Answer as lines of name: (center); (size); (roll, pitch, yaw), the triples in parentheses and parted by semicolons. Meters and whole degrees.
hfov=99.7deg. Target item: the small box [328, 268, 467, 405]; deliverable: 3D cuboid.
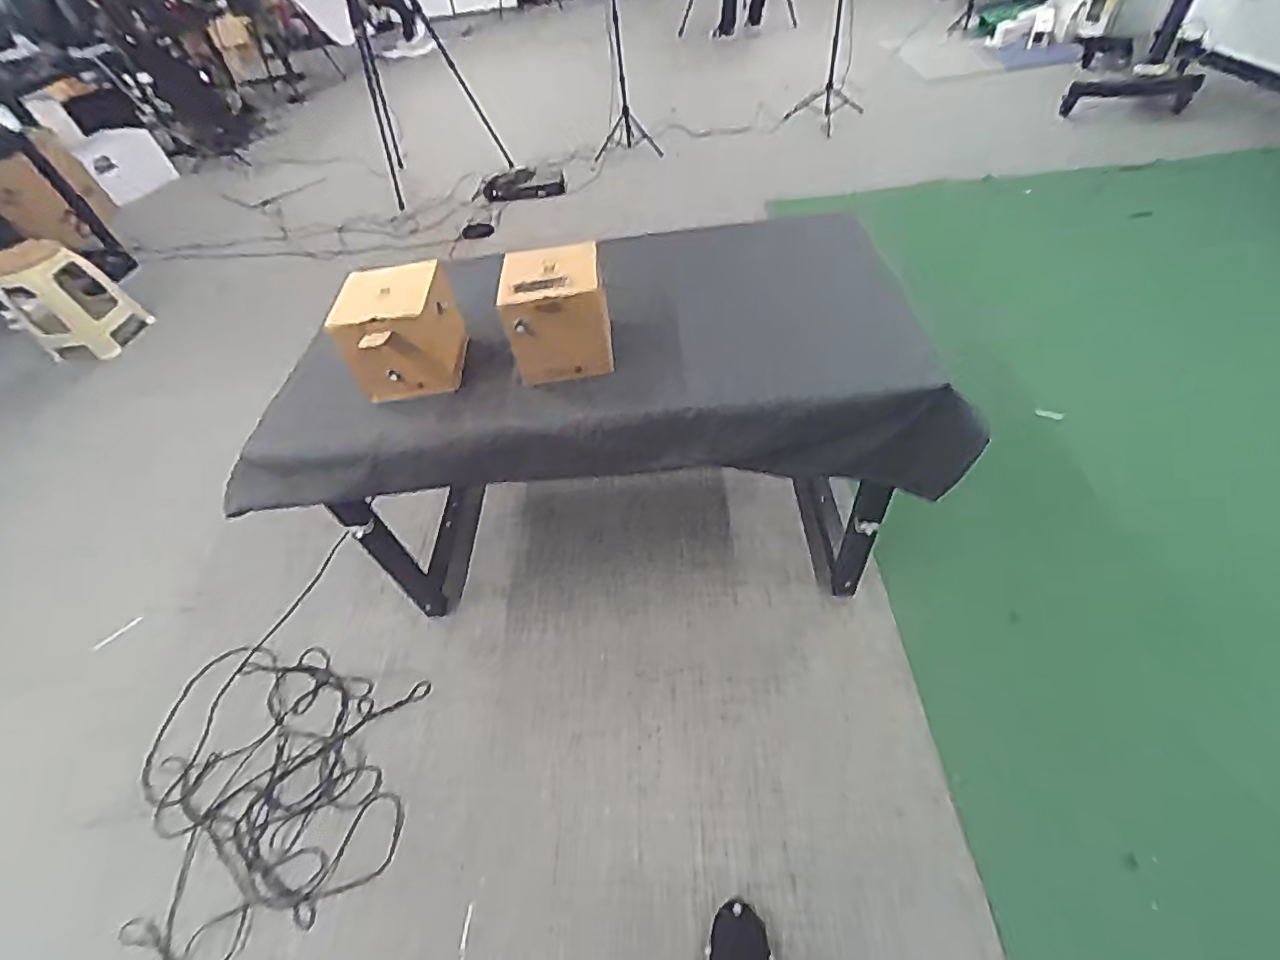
small box: (-0.429, -0.262, 0.995); (0.168, 0.176, 0.179); (-8, 49, 1)
